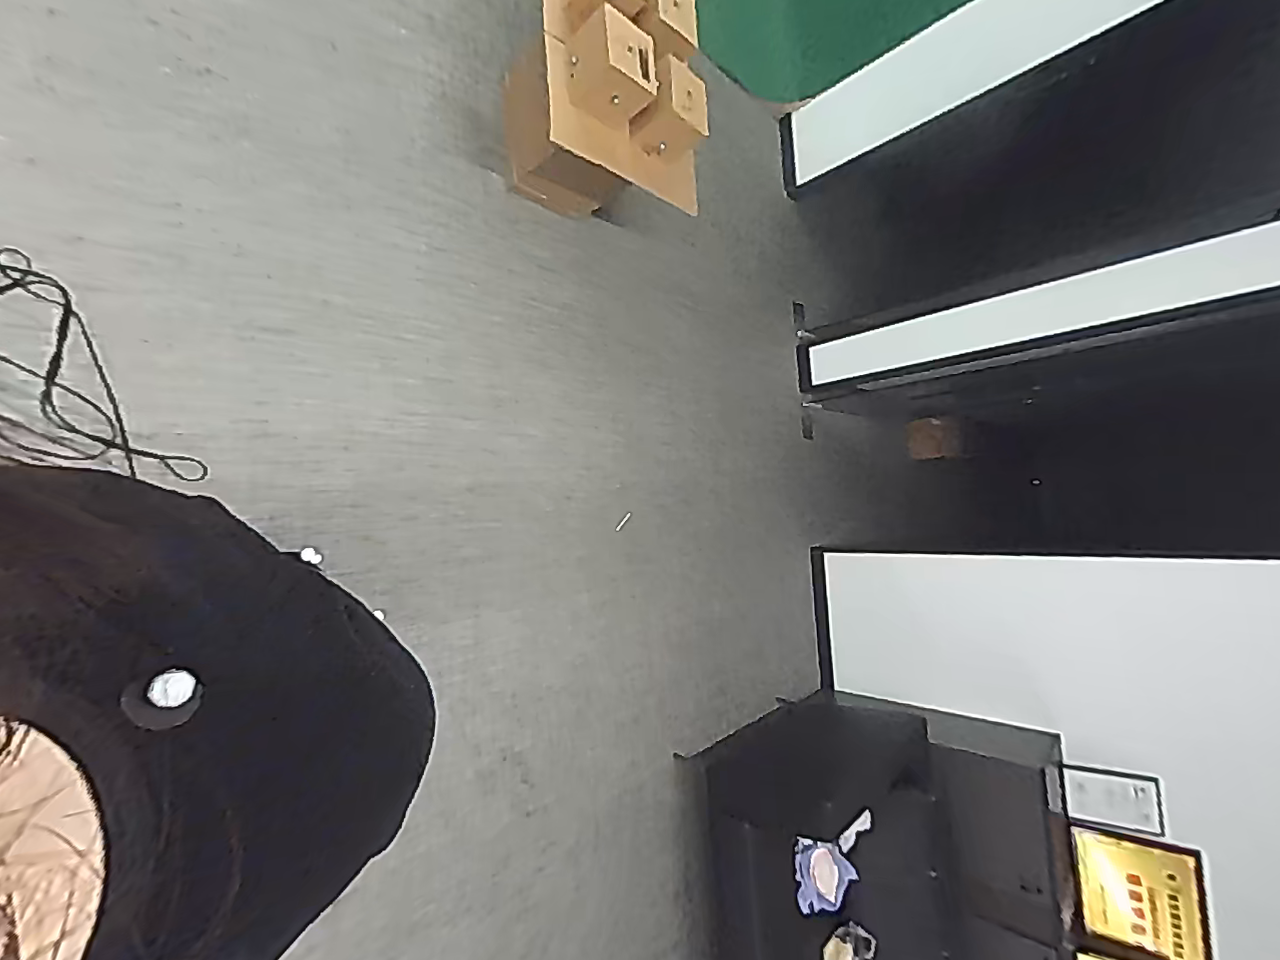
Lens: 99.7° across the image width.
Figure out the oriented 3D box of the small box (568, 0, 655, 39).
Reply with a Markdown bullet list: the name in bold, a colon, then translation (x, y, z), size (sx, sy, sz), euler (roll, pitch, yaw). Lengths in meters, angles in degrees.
- **small box**: translation (-0.087, -1.352, 1.459), size (0.179, 0.176, 0.168), euler (-6, 90, -45)

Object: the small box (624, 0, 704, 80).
- **small box**: translation (0.069, -1.345, 1.608), size (0.179, 0.176, 0.168), euler (-2, 86, -46)
